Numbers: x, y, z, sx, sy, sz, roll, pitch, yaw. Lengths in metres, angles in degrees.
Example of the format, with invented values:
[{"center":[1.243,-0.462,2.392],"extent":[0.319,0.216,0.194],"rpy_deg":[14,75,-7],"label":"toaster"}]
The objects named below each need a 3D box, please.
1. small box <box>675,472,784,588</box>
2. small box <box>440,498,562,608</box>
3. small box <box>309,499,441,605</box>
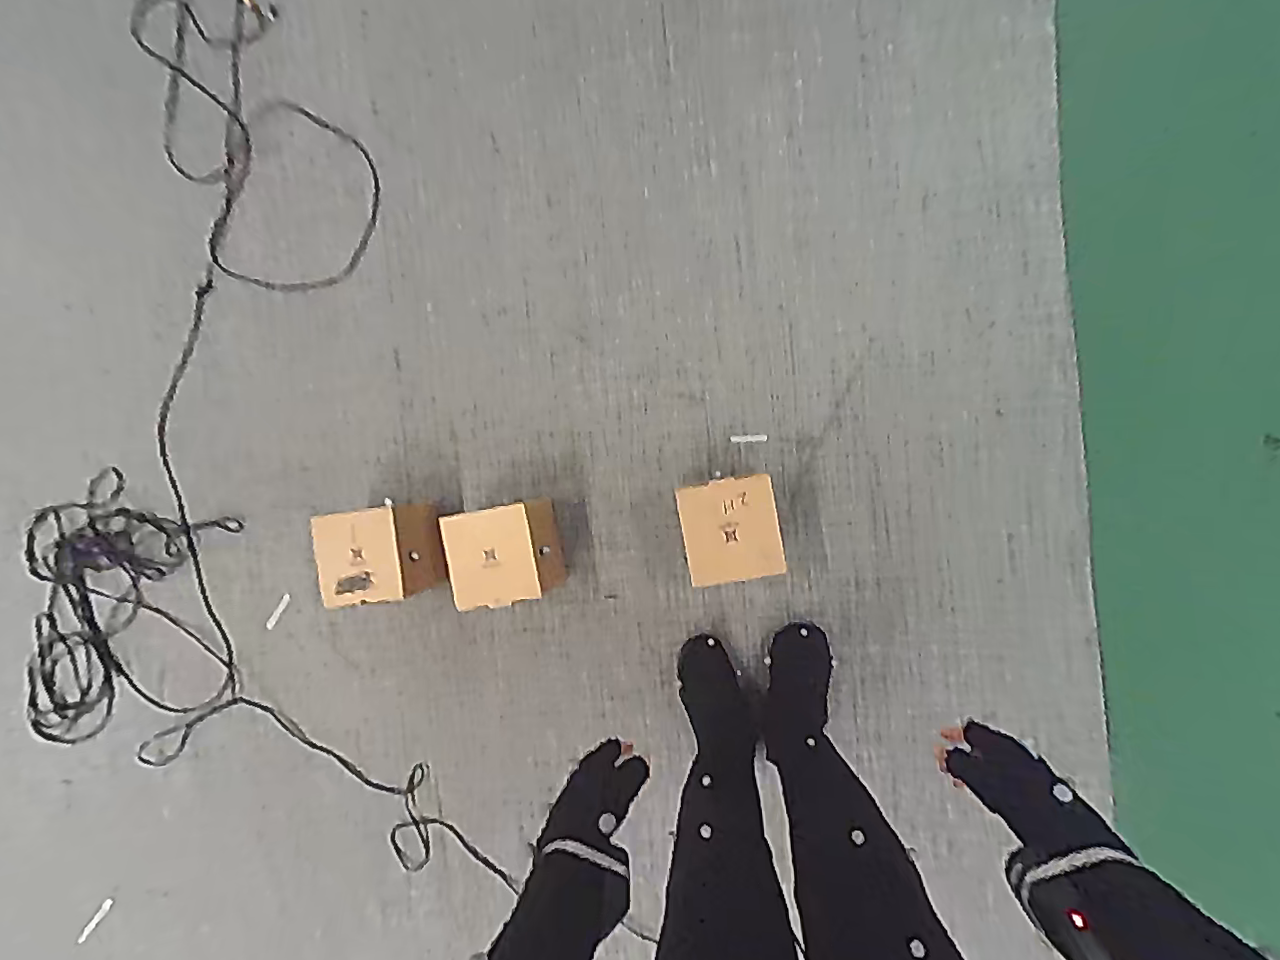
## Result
[{"center":[0.161,0.085,0.999],"extent":[0.168,0.176,0.179],"rpy_deg":[-10,91,5],"label":"small box"},{"center":[-0.261,0.132,1.047],"extent":[0.168,0.176,0.179],"rpy_deg":[-10,91,7],"label":"small box"},{"center":[-0.515,0.136,1.074],"extent":[0.168,0.176,0.179],"rpy_deg":[-7,90,7],"label":"small box"}]
